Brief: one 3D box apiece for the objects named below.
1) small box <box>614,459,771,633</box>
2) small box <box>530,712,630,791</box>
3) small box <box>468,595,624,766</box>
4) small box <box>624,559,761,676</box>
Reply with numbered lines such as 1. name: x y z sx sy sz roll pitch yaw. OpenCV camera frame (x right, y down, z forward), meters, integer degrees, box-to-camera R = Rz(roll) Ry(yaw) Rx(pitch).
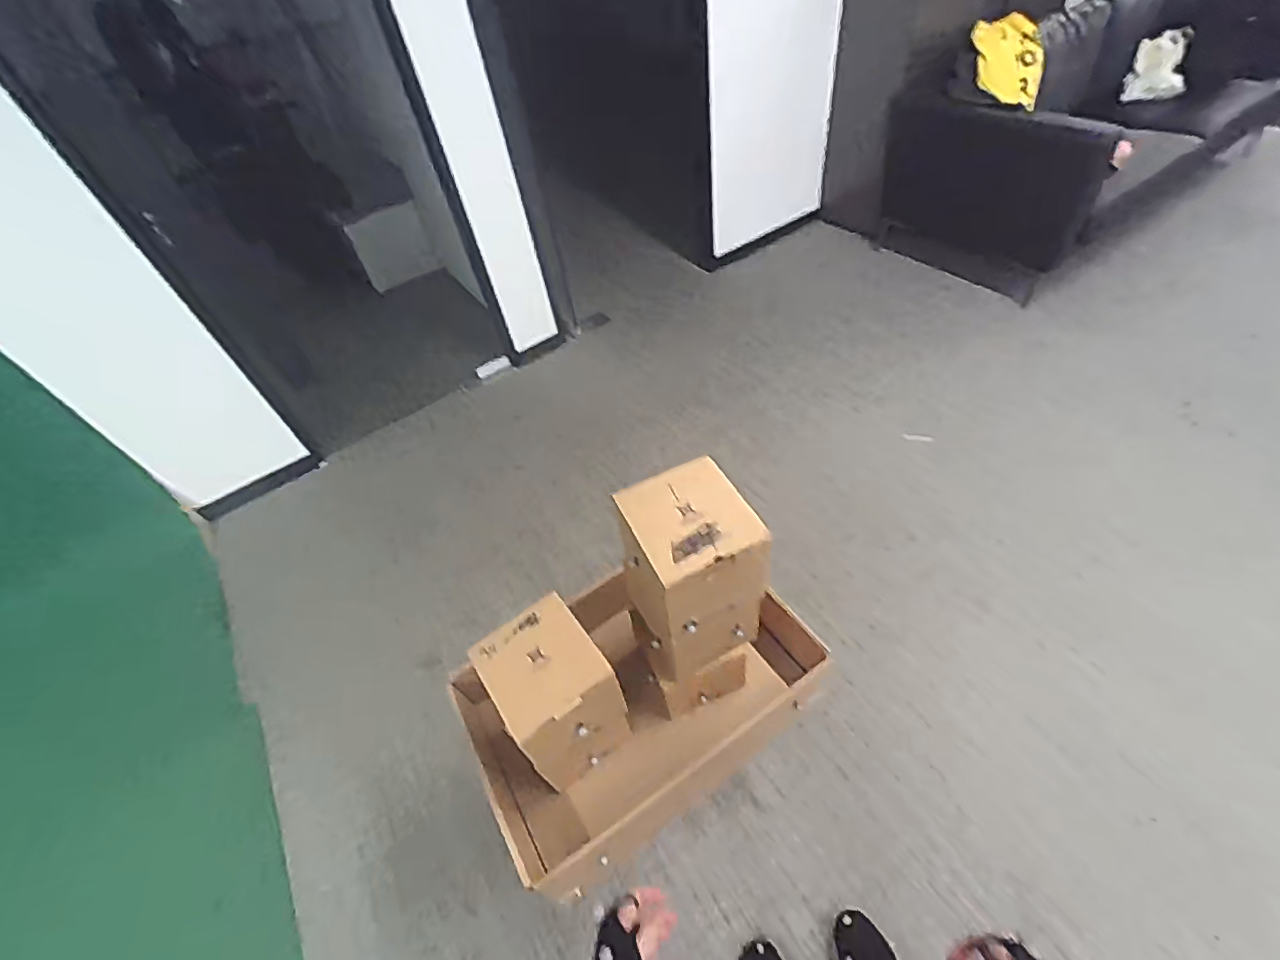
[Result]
1. small box: 0.078 0.105 0.811 0.168 0.176 0.179 -22 49 -12
2. small box: -0.138 0.430 0.992 0.168 0.176 0.179 -32 52 -18
3. small box: -0.142 0.326 0.865 0.168 0.176 0.179 -31 52 -19
4. small box: 0.091 0.213 0.933 0.168 0.176 0.179 -24 50 -13
